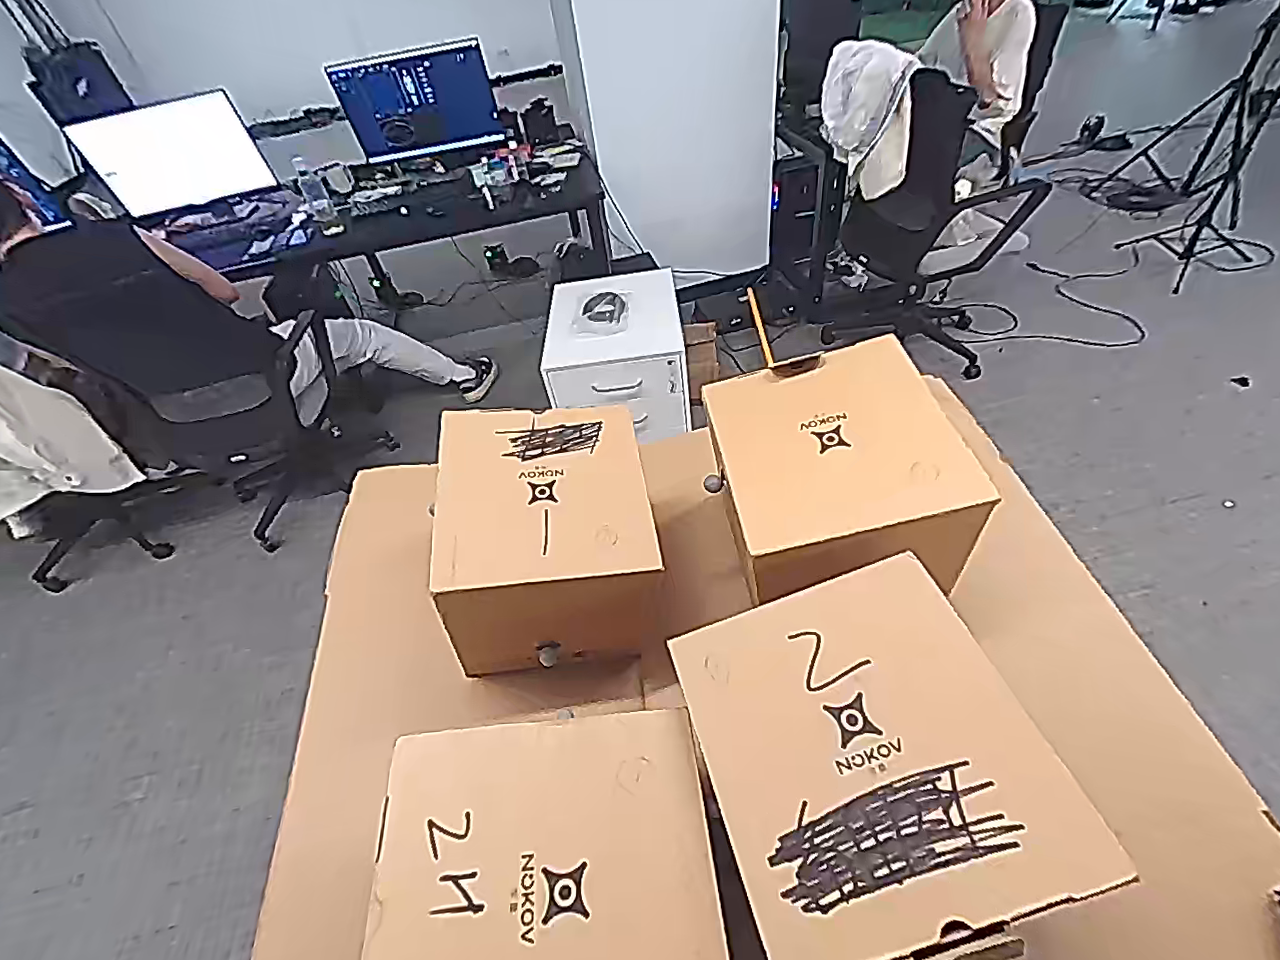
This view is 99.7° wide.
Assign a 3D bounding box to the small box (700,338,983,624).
[{"bbox_3d":[0.161,0.012,0.477,0.168,0.176,0.179,-14,51,7],"label":"small box"}]
